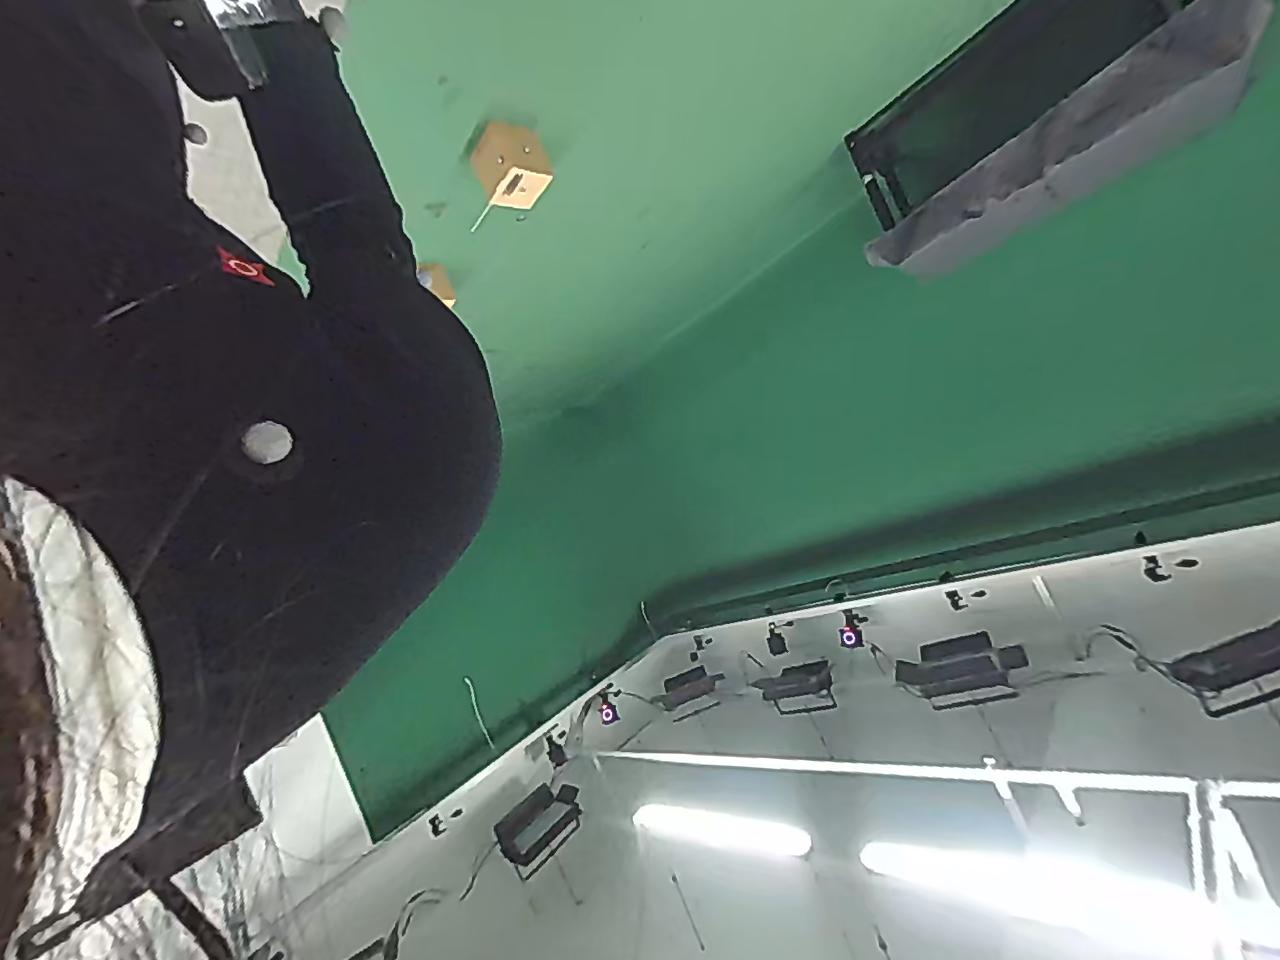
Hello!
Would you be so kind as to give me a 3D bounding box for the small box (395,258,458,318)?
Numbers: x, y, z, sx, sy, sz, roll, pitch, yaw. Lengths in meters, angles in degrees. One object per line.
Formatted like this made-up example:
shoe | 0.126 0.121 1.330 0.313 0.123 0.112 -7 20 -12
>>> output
small box | -0.899 -0.801 2.264 0.179 0.176 0.168 -27 176 43
